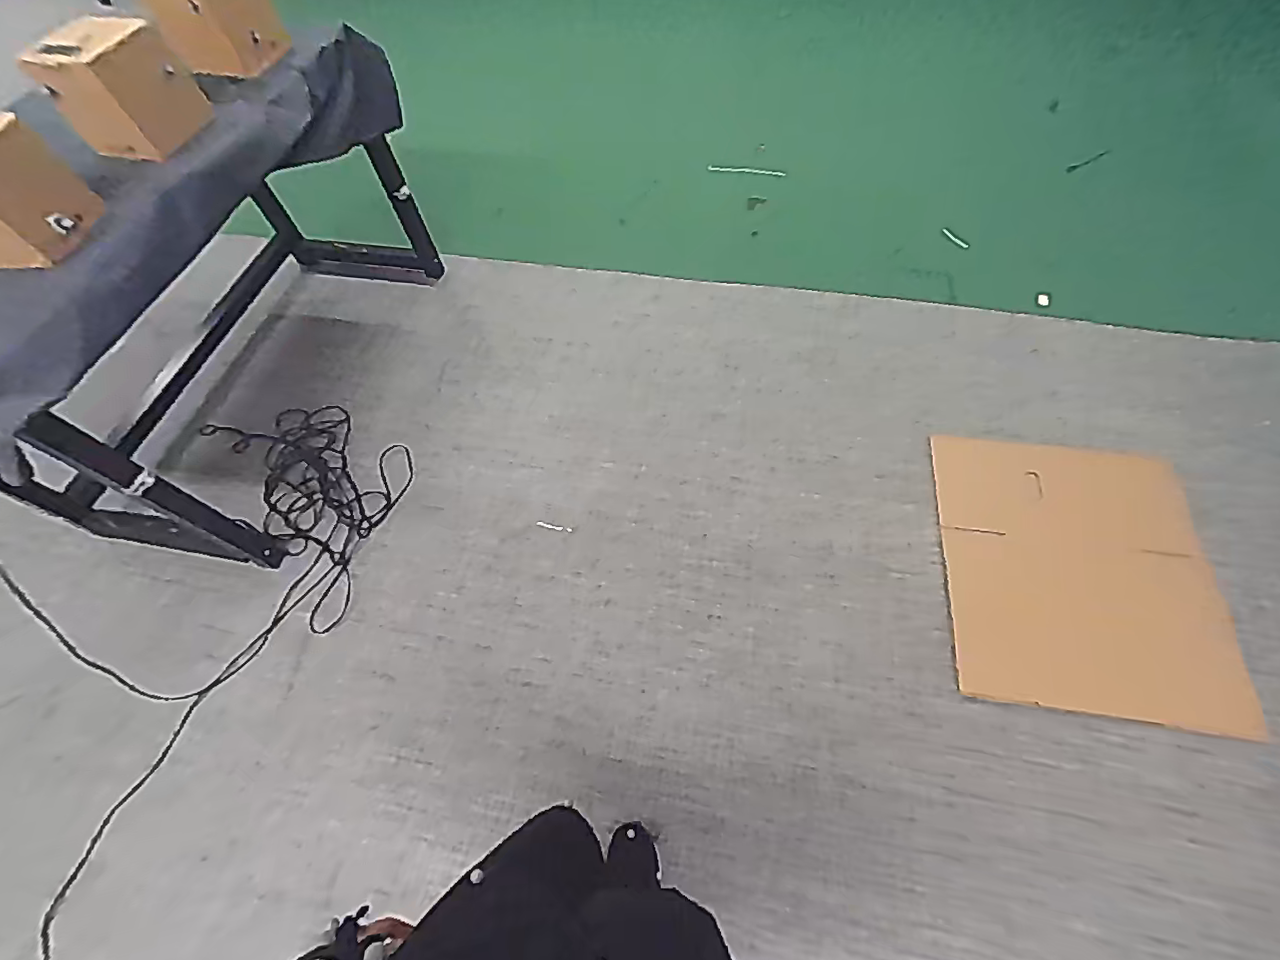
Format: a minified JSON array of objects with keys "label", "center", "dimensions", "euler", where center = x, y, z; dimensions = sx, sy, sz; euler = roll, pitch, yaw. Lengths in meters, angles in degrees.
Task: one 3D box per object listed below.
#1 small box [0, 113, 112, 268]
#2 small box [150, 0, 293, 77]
[{"label":"small box","center":[-1.065,-0.474,0.897],"dimensions":[0.179,0.176,0.168],"euler":[2,62,4]},{"label":"small box","center":[-0.935,-1.033,1.206],"dimensions":[0.179,0.176,0.168],"euler":[12,62,10]}]
